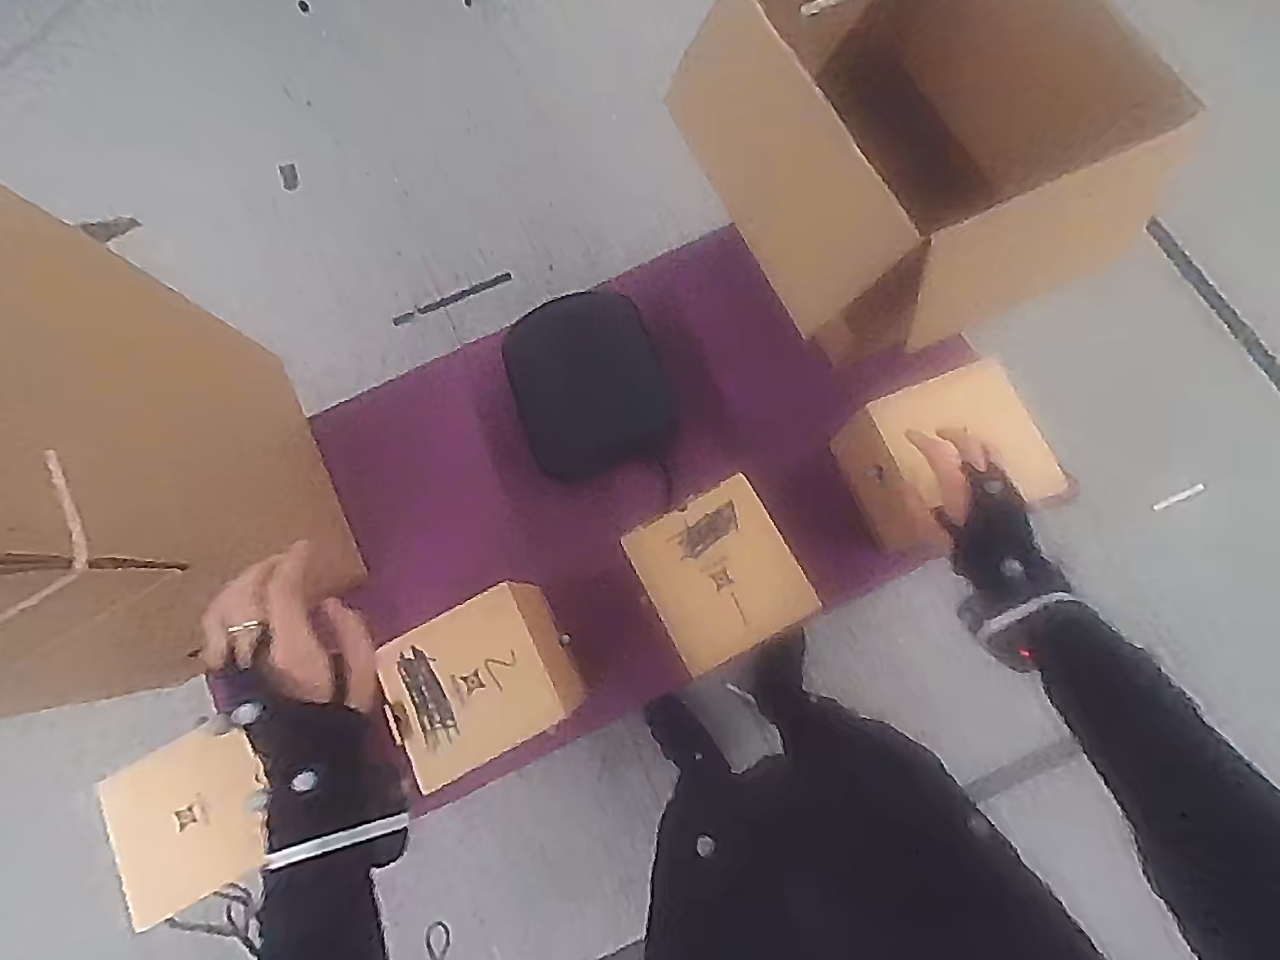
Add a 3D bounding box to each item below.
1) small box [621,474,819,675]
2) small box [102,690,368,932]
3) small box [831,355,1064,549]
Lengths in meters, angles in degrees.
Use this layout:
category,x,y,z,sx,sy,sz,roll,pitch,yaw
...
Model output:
category,x,y,z,sx,sy,sz,roll,pitch,yaw
small box,0.091,0.119,0.683,0.168,0.176,0.179,-29,78,-2
small box,-0.479,0.383,0.663,0.179,0.176,0.168,-29,77,-4
small box,0.371,-0.025,0.694,0.168,0.176,0.179,-21,77,0
